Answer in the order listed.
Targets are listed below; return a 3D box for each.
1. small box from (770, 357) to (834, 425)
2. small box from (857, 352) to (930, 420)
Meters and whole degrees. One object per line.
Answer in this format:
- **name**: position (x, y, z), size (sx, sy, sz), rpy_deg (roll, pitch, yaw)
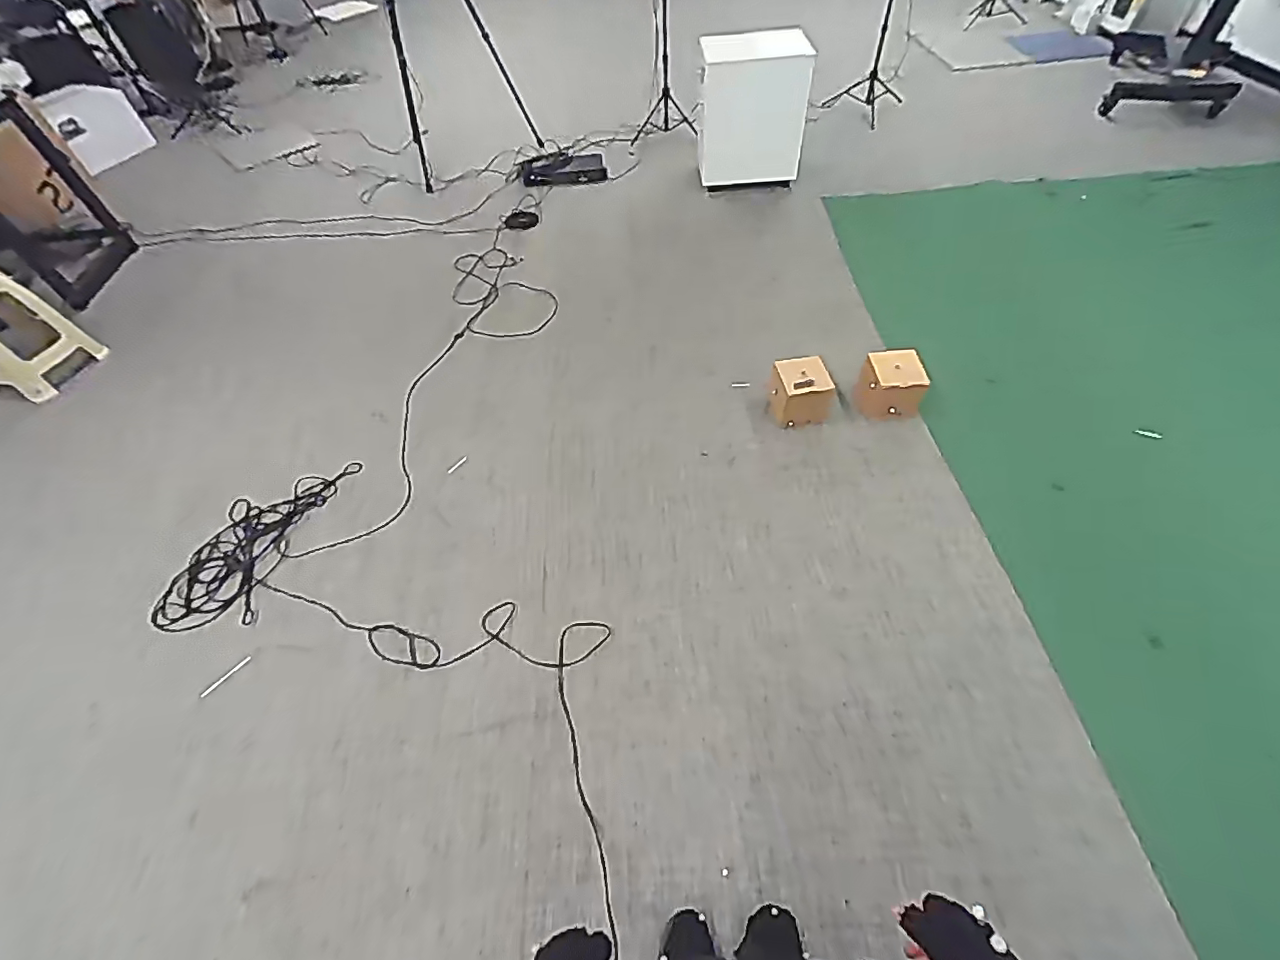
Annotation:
- **small box**: position (0.573, -0.312, 1.932), size (0.168, 0.176, 0.179), rpy_deg (-7, 53, -2)
- **small box**: position (0.895, -0.333, 1.929), size (0.168, 0.176, 0.179), rpy_deg (-3, 54, 2)
